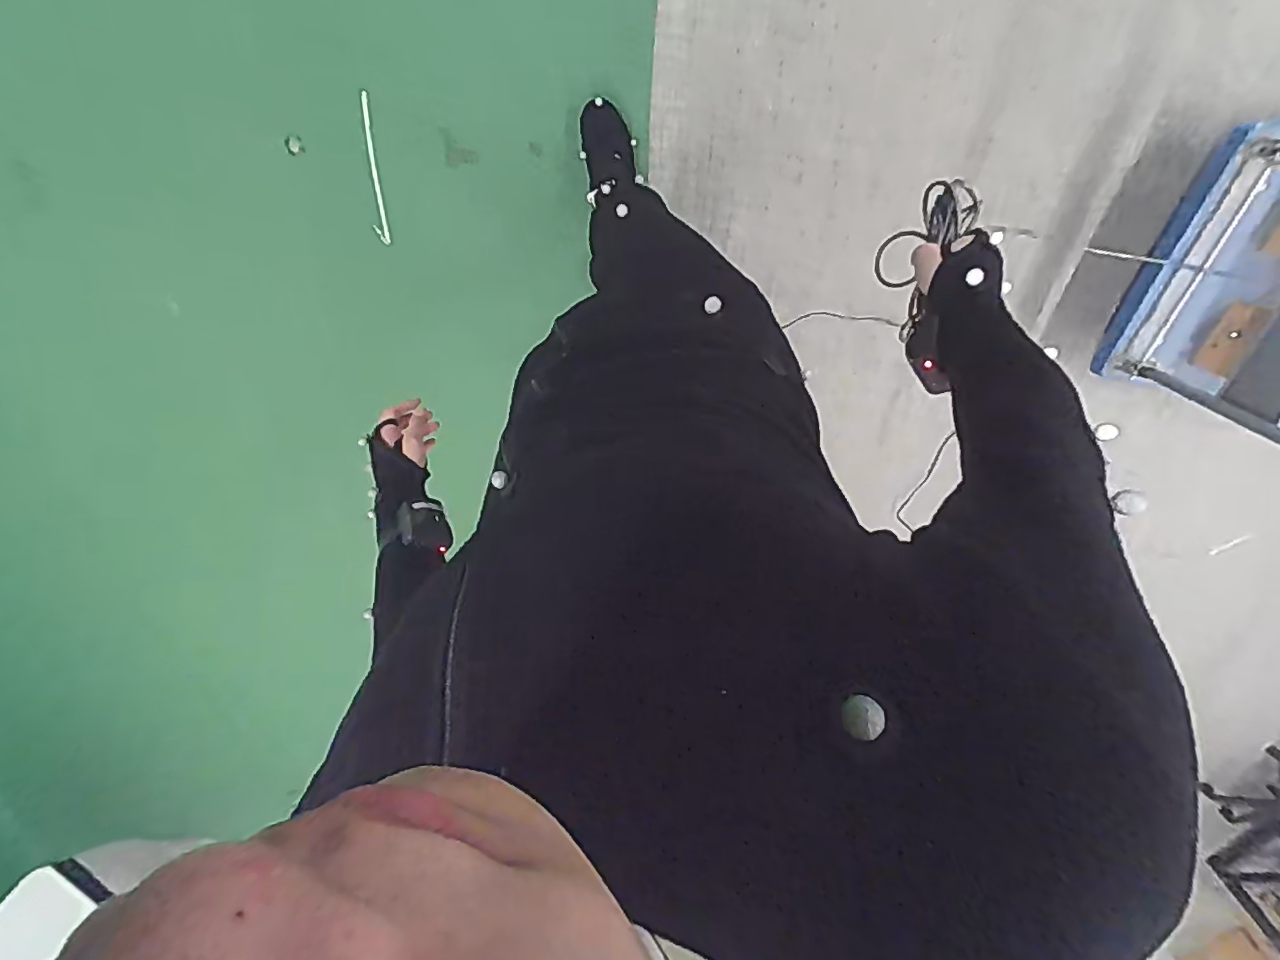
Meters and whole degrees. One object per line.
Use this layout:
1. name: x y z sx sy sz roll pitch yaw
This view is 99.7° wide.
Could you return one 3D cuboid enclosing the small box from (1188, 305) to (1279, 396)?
1. small box: 1.520 -0.312 1.307 0.179 0.176 0.168 8 122 -5
